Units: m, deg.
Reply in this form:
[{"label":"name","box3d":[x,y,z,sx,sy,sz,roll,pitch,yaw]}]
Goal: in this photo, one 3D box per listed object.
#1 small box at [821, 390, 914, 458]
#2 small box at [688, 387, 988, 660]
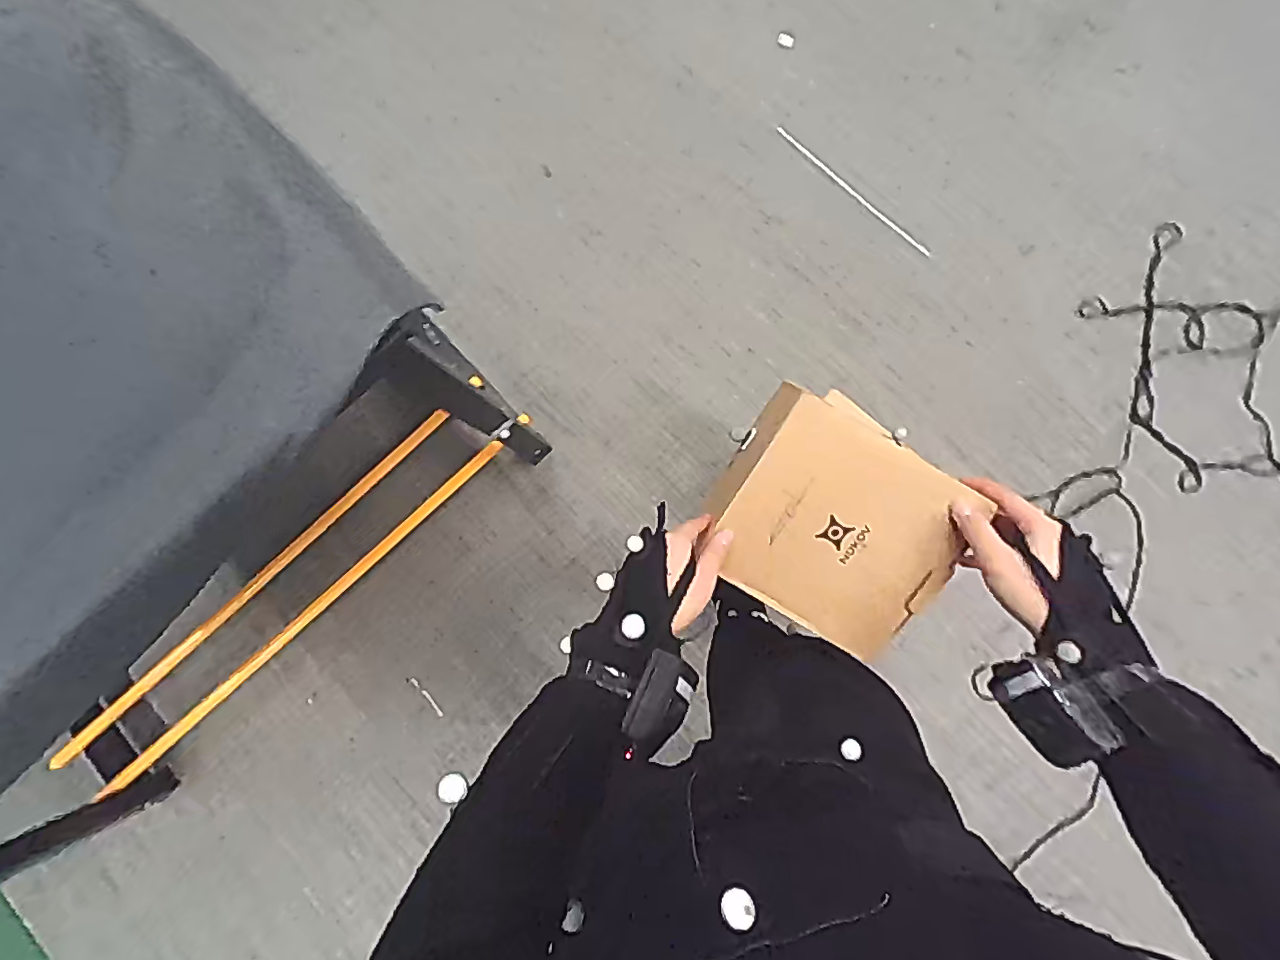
[{"label":"small box","box3d":[0.276,-0.002,0.811,0.179,0.176,0.168,43,86,6]},{"label":"small box","box3d":[0.164,0.023,0.507,0.179,0.176,0.168,30,106,1]}]
